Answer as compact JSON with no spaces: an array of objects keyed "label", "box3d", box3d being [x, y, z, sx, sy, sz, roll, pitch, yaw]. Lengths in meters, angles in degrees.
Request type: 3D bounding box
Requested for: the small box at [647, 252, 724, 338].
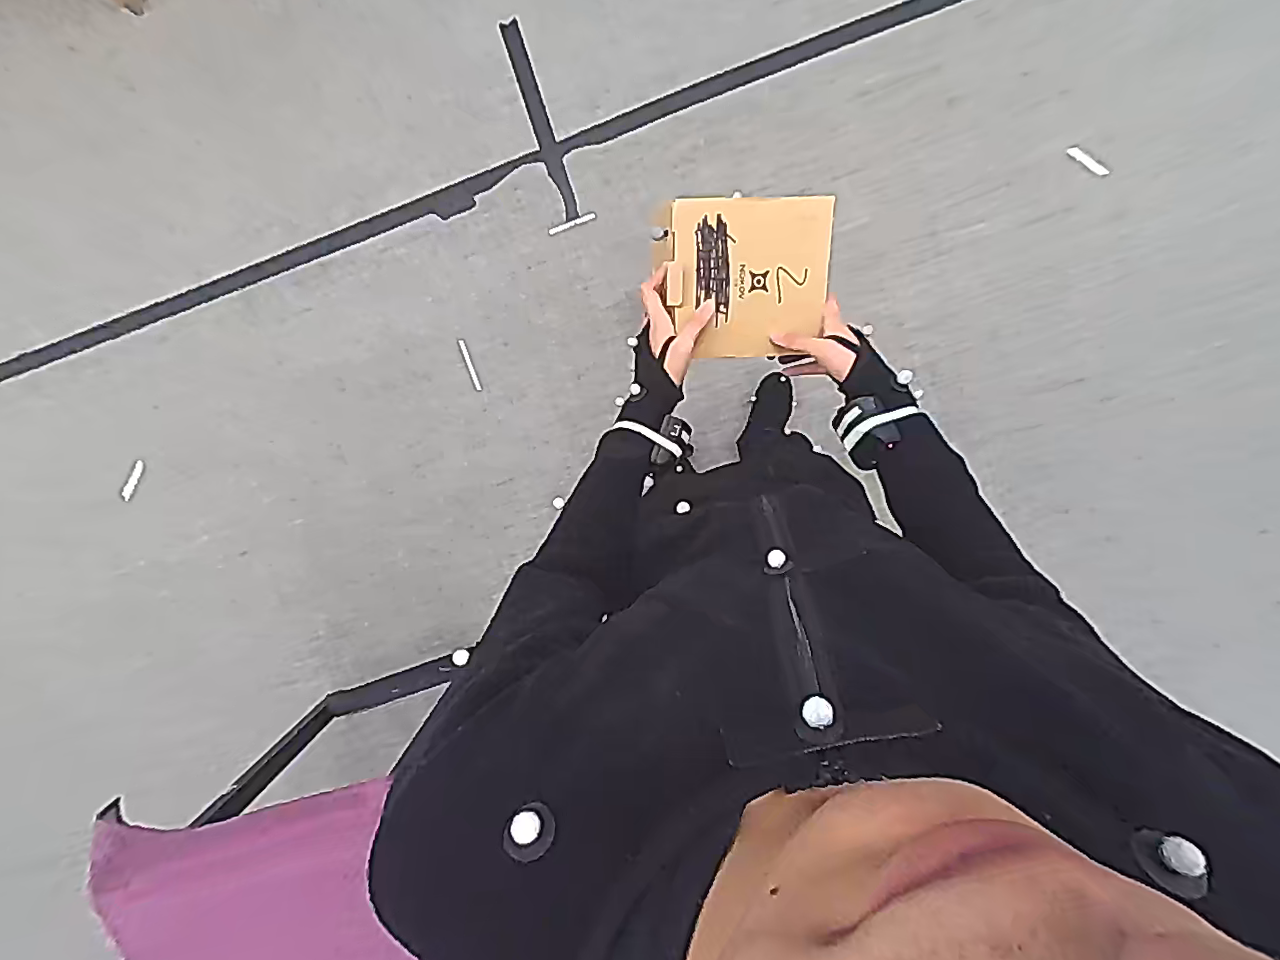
[{"label":"small box","box3d":[0.120,-0.491,1.465,0.168,0.176,0.179,-15,98,2]}]
